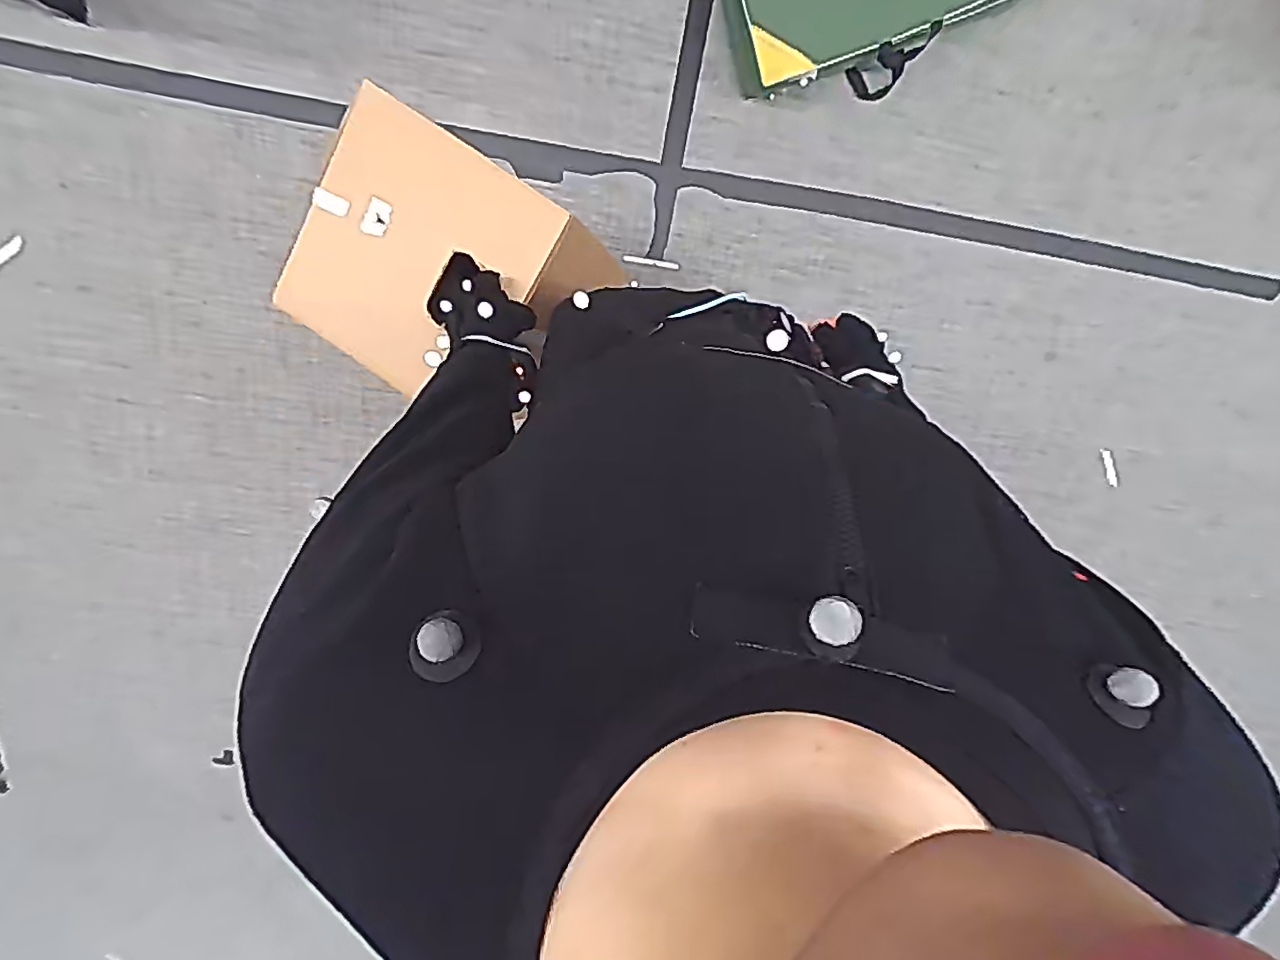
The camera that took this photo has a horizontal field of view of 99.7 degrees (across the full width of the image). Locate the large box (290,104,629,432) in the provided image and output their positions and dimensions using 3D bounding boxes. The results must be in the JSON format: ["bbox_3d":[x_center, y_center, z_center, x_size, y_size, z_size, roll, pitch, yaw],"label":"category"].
[{"bbox_3d":[-0.257,-0.310,0.892,0.320,0.408,0.320,35,104,1],"label":"large box"}]
